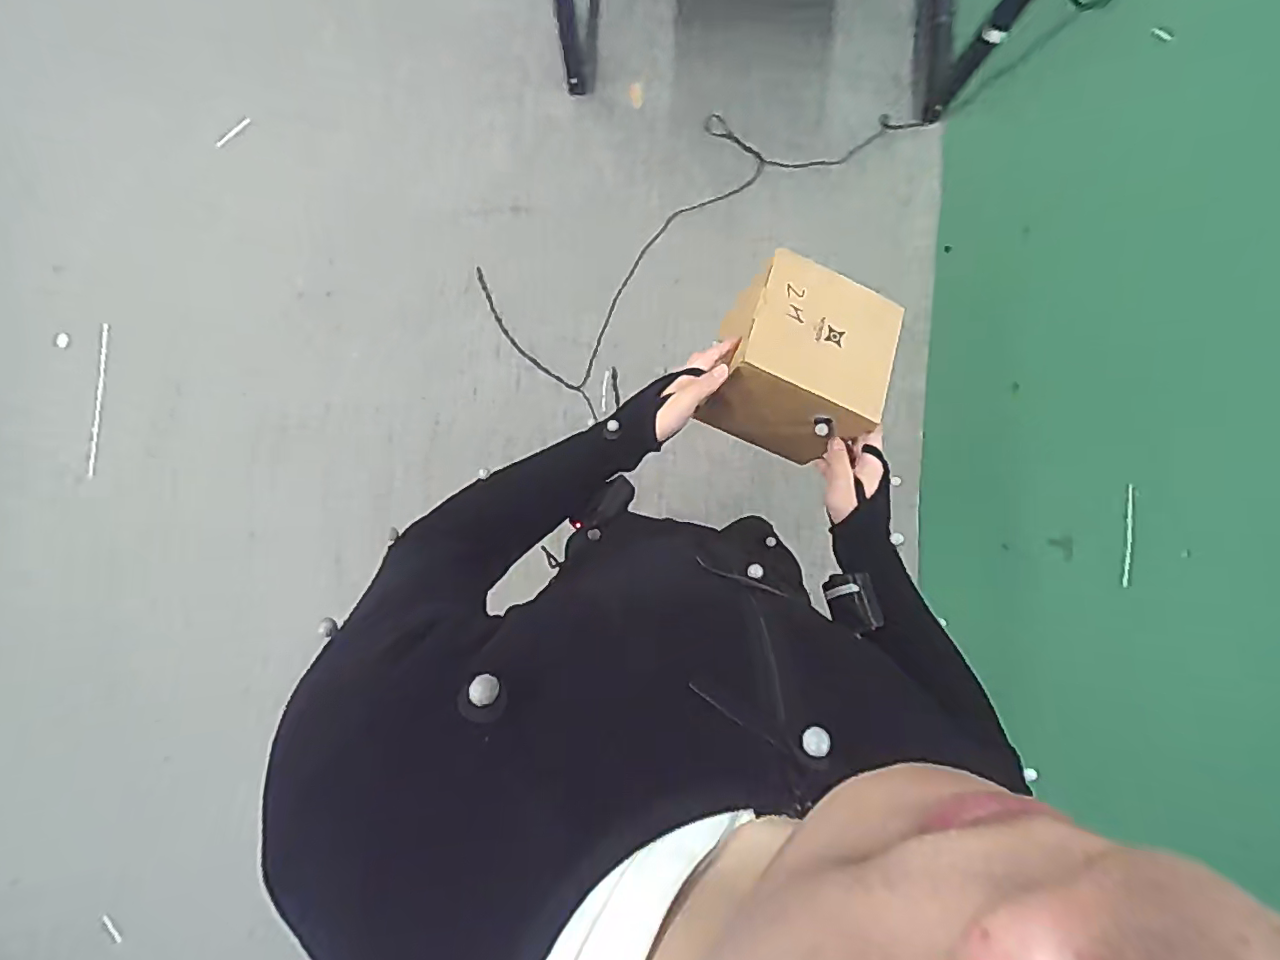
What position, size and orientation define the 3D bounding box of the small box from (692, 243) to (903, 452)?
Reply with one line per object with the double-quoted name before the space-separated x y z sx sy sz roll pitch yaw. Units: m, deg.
"small box" 0.189 -0.150 0.682 0.179 0.176 0.168 23 71 -7
